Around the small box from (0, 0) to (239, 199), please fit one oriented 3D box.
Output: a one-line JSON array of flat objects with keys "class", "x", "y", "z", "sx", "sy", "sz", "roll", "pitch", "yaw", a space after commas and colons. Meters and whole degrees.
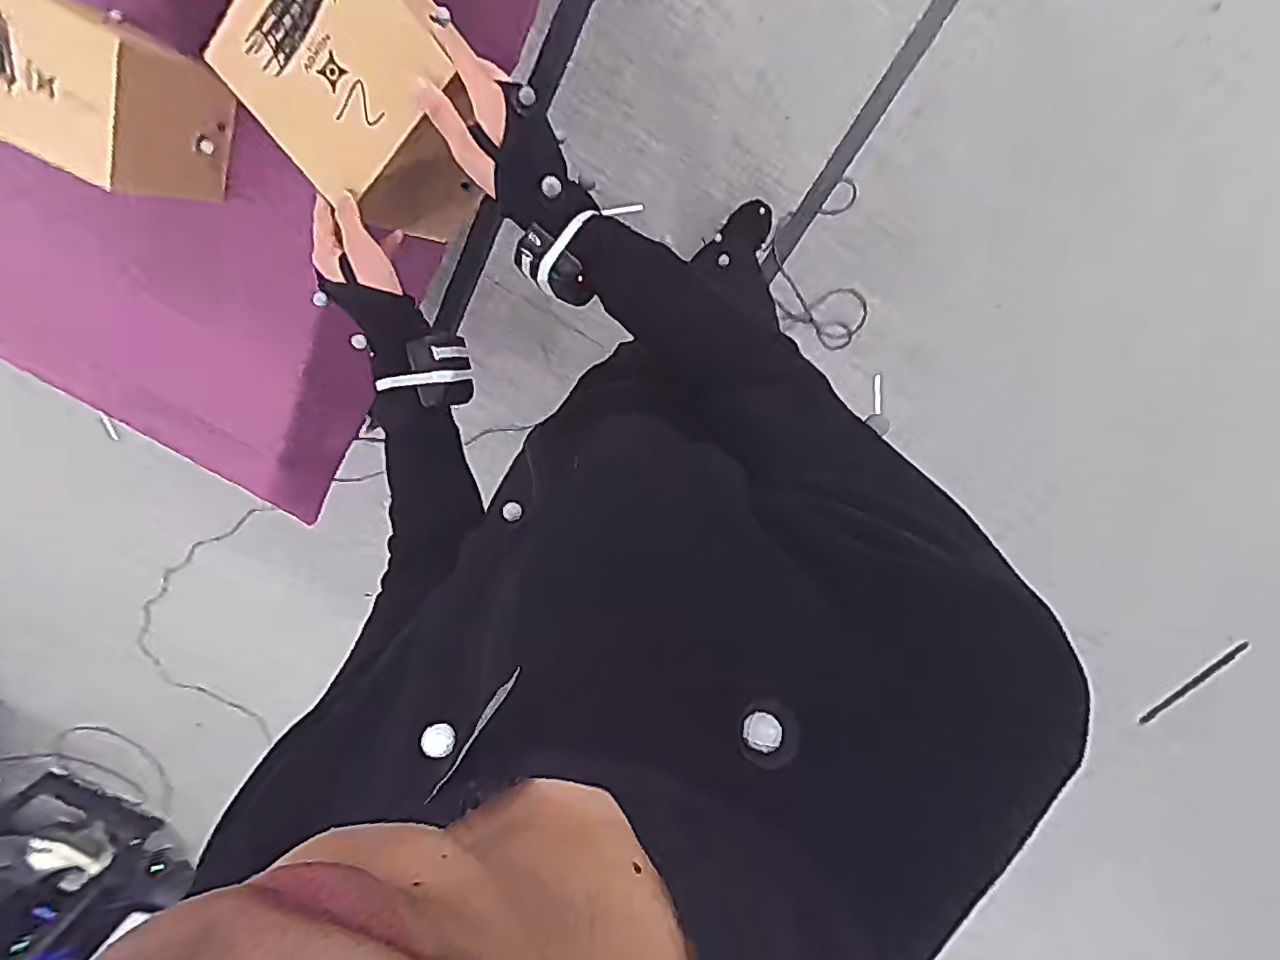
[{"class": "small box", "x": -0.663, "y": -0.476, "z": 0.683, "sx": 0.179, "sy": 0.176, "sz": 0.168, "roll": 26, "pitch": 113, "yaw": -4}]
